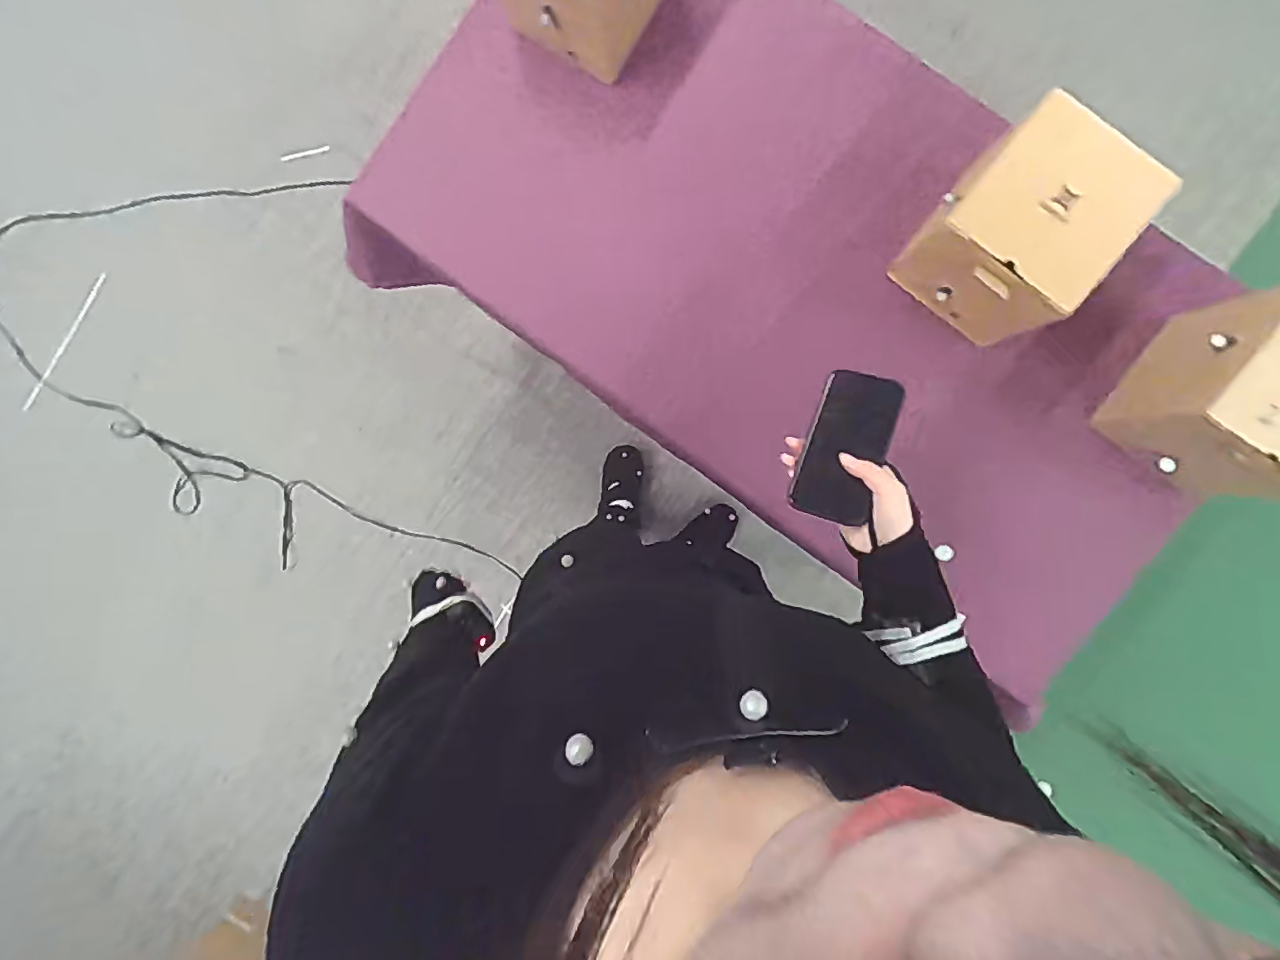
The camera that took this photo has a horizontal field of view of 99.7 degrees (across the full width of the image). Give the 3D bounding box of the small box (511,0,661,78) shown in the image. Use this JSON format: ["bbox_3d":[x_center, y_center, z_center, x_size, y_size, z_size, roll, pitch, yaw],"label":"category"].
[{"bbox_3d":[-0.067,-0.655,0.663,0.168,0.176,0.179,32,96,1],"label":"small box"}]

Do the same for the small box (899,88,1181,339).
[{"bbox_3d":[0.450,-0.296,0.645,0.168,0.176,0.179,38,96,1],"label":"small box"}]

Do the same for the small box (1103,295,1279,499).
[{"bbox_3d":[0.714,-0.096,0.632,0.168,0.176,0.179,37,95,3],"label":"small box"}]
